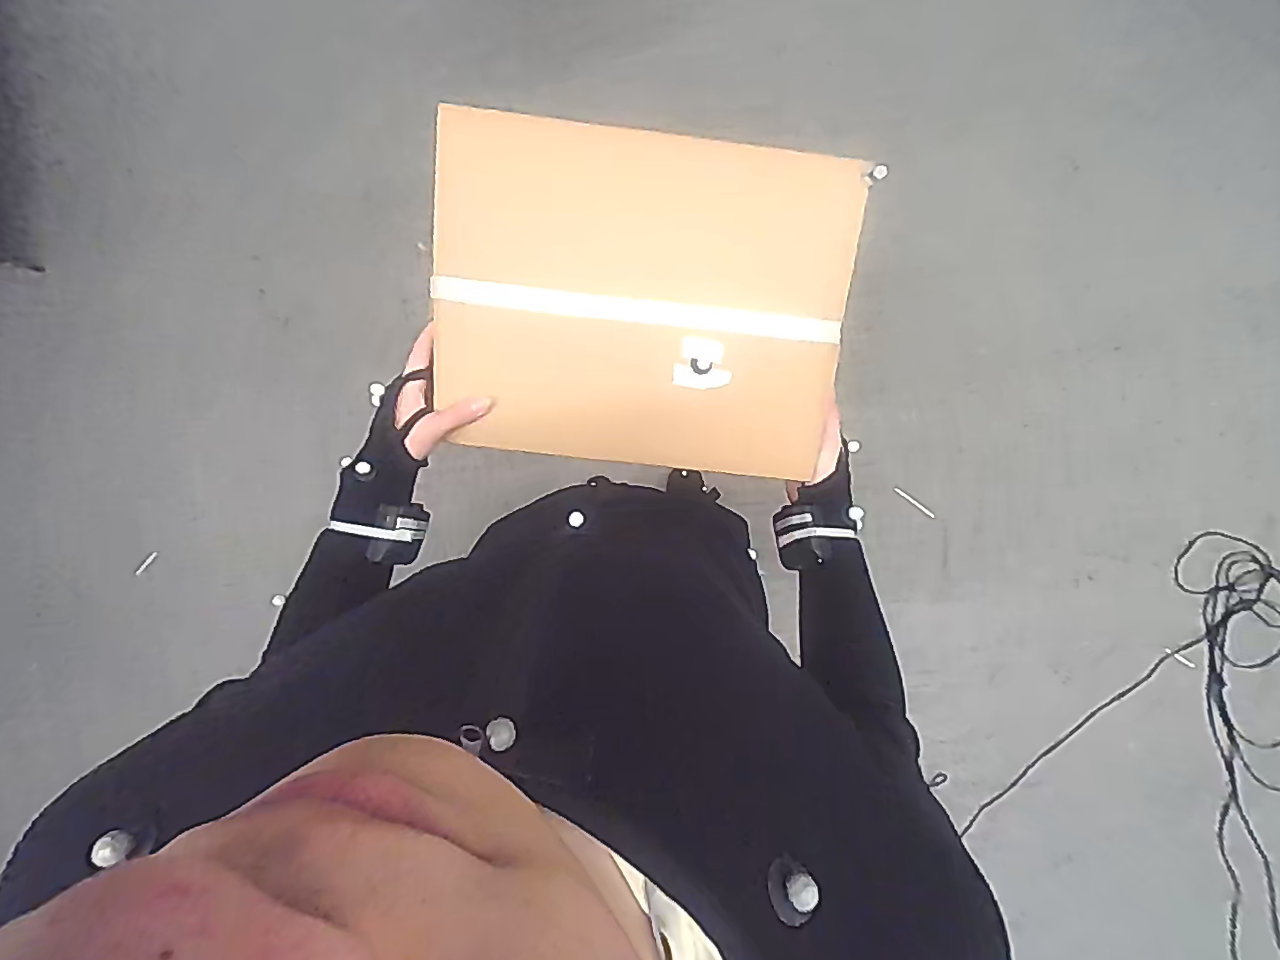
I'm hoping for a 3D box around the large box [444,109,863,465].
[{"bbox_3d":[-0.003,-0.216,0.687,0.408,0.320,0.320,6,106,-3],"label":"large box"}]

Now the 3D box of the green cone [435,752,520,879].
[{"bbox_3d":[-0.481,0.949,1.506,0.200,0.368,0.202,0,92,3],"label":"green cone"}]
